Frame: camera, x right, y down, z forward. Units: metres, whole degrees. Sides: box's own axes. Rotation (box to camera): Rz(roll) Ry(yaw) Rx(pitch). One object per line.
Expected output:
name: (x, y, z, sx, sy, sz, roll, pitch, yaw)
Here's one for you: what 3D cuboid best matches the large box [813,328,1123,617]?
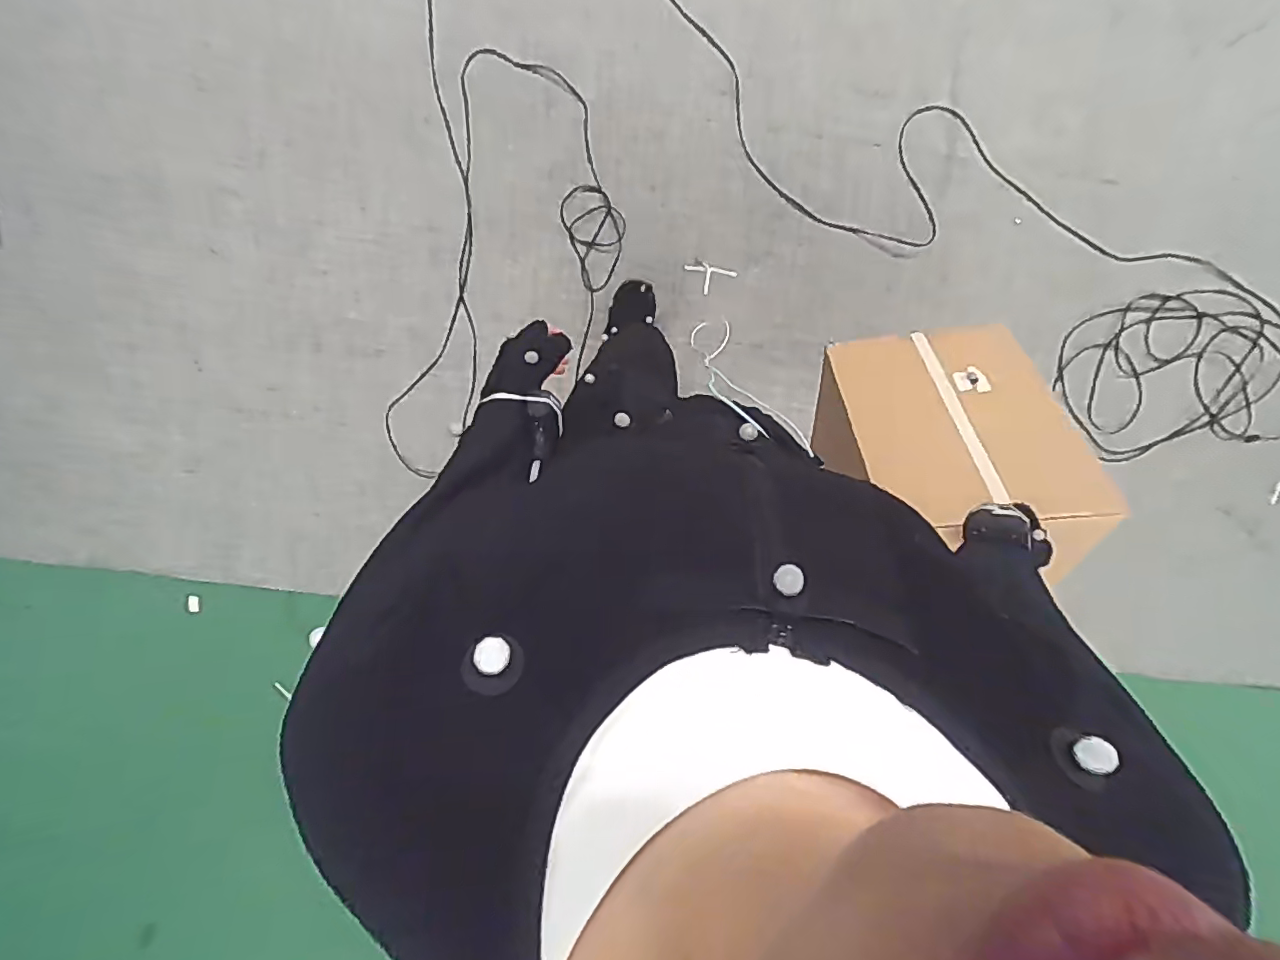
large box: (0.518, -0.009, 0.973, 0.320, 0.408, 0.320, -5, 142, 6)
